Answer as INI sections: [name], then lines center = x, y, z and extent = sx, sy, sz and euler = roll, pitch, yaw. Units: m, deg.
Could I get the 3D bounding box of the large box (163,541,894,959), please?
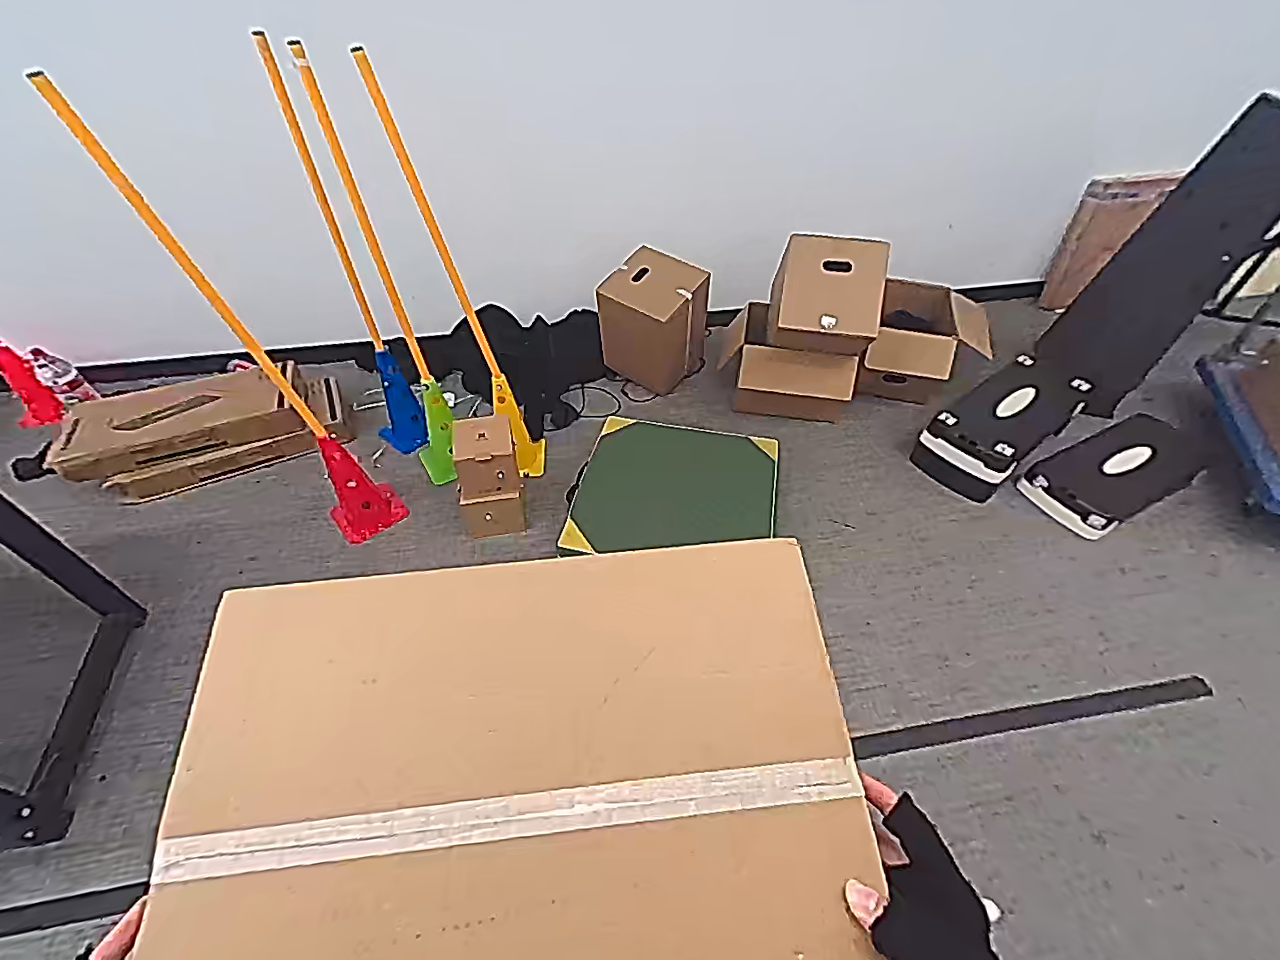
[large box]
center = -0.069, 0.269, 0.460
extent = 0.408, 0.320, 0.320
euler = -5, 63, -3
